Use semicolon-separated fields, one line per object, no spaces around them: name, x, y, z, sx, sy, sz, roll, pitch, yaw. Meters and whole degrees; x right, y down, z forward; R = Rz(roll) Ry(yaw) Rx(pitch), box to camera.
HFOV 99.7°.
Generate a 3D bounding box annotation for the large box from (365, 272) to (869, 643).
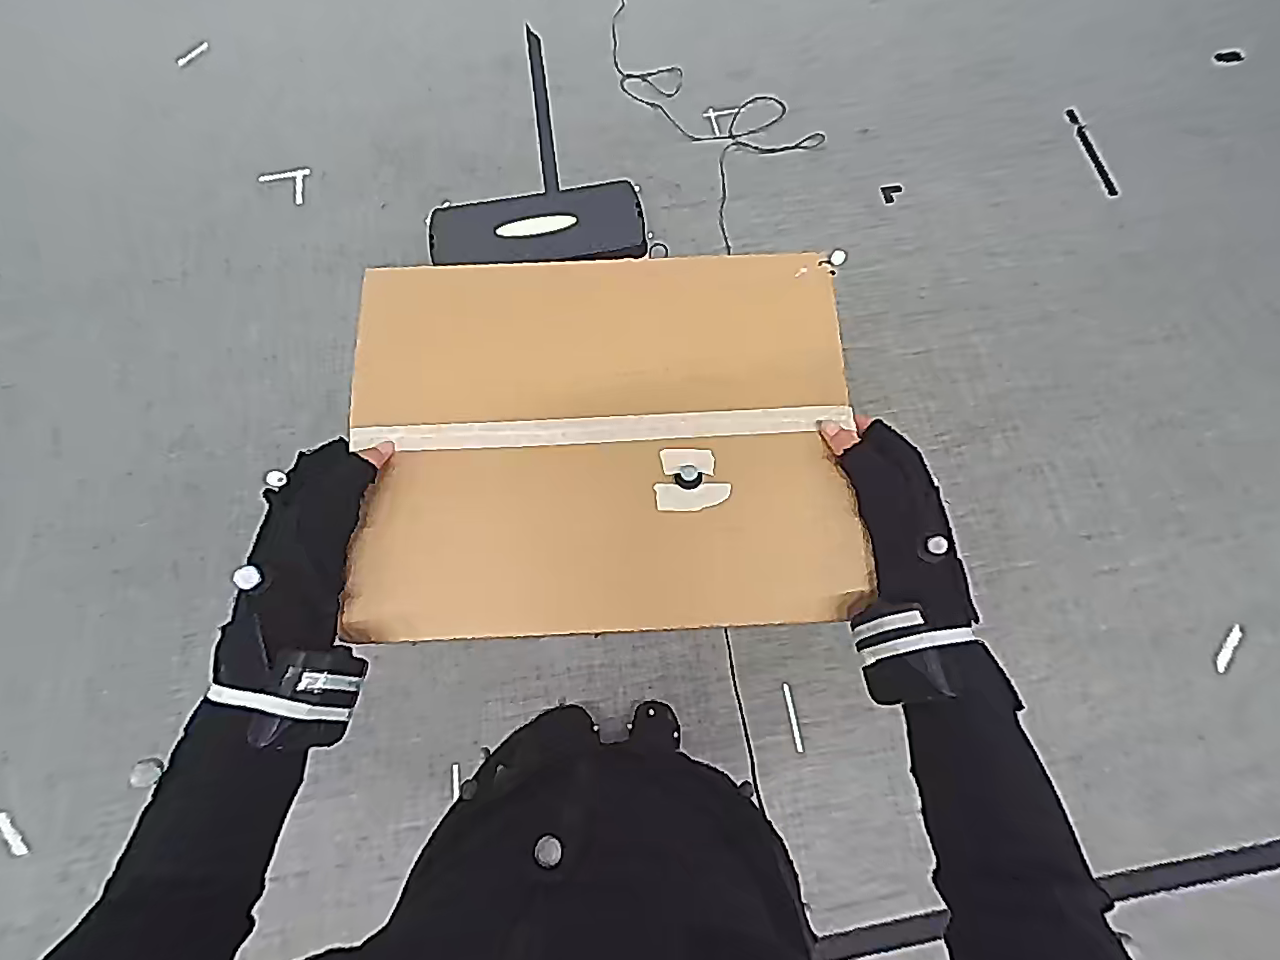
large box;-0.027;0.004;0.601;0.408;0.320;0.320;-2;76;-1
